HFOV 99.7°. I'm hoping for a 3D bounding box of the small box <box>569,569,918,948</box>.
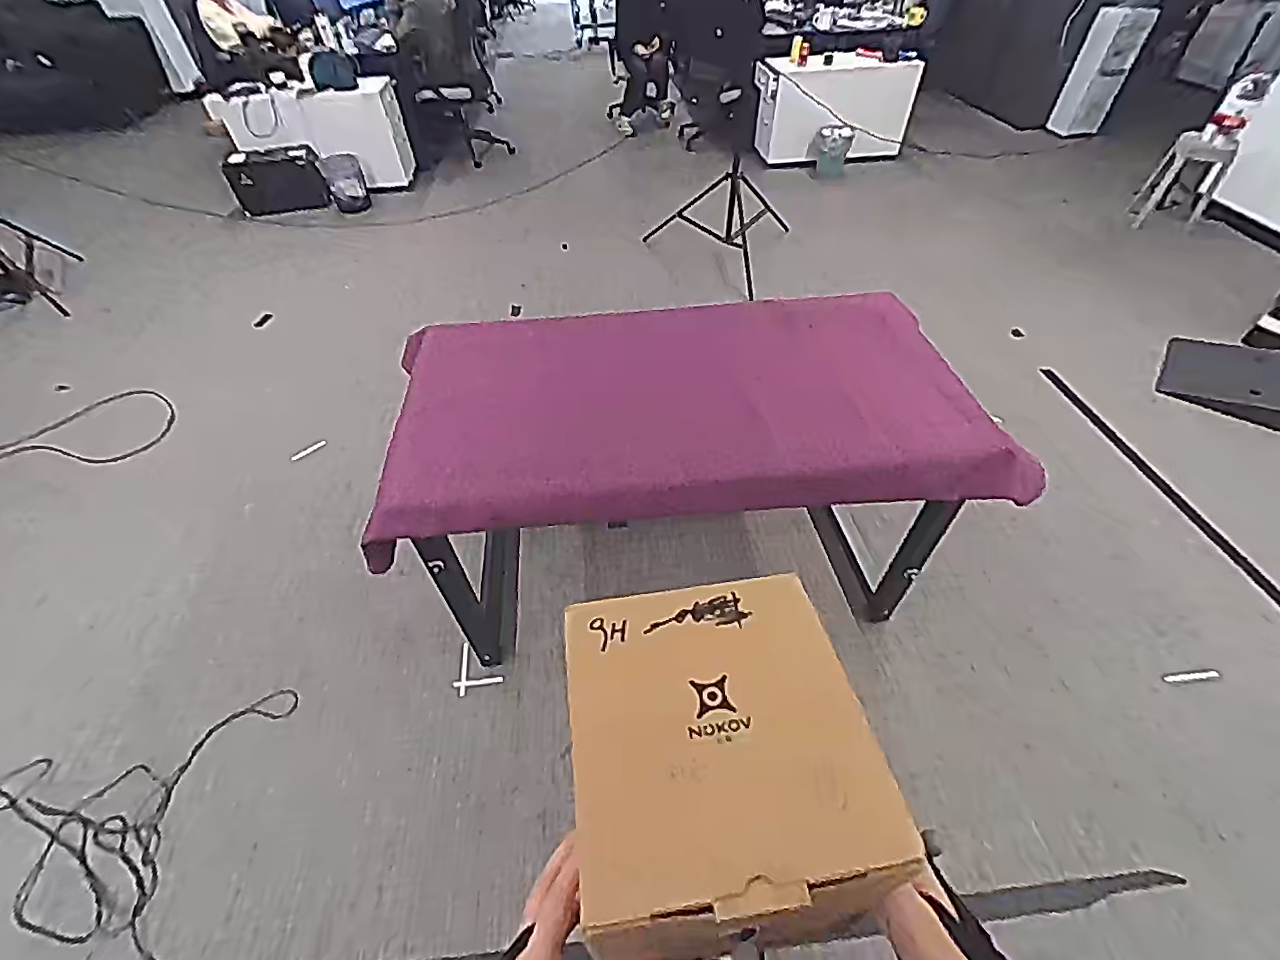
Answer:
[{"bbox_3d":[0.046,0.188,0.365,0.168,0.176,0.179,-6,43,-5],"label":"small box"}]
